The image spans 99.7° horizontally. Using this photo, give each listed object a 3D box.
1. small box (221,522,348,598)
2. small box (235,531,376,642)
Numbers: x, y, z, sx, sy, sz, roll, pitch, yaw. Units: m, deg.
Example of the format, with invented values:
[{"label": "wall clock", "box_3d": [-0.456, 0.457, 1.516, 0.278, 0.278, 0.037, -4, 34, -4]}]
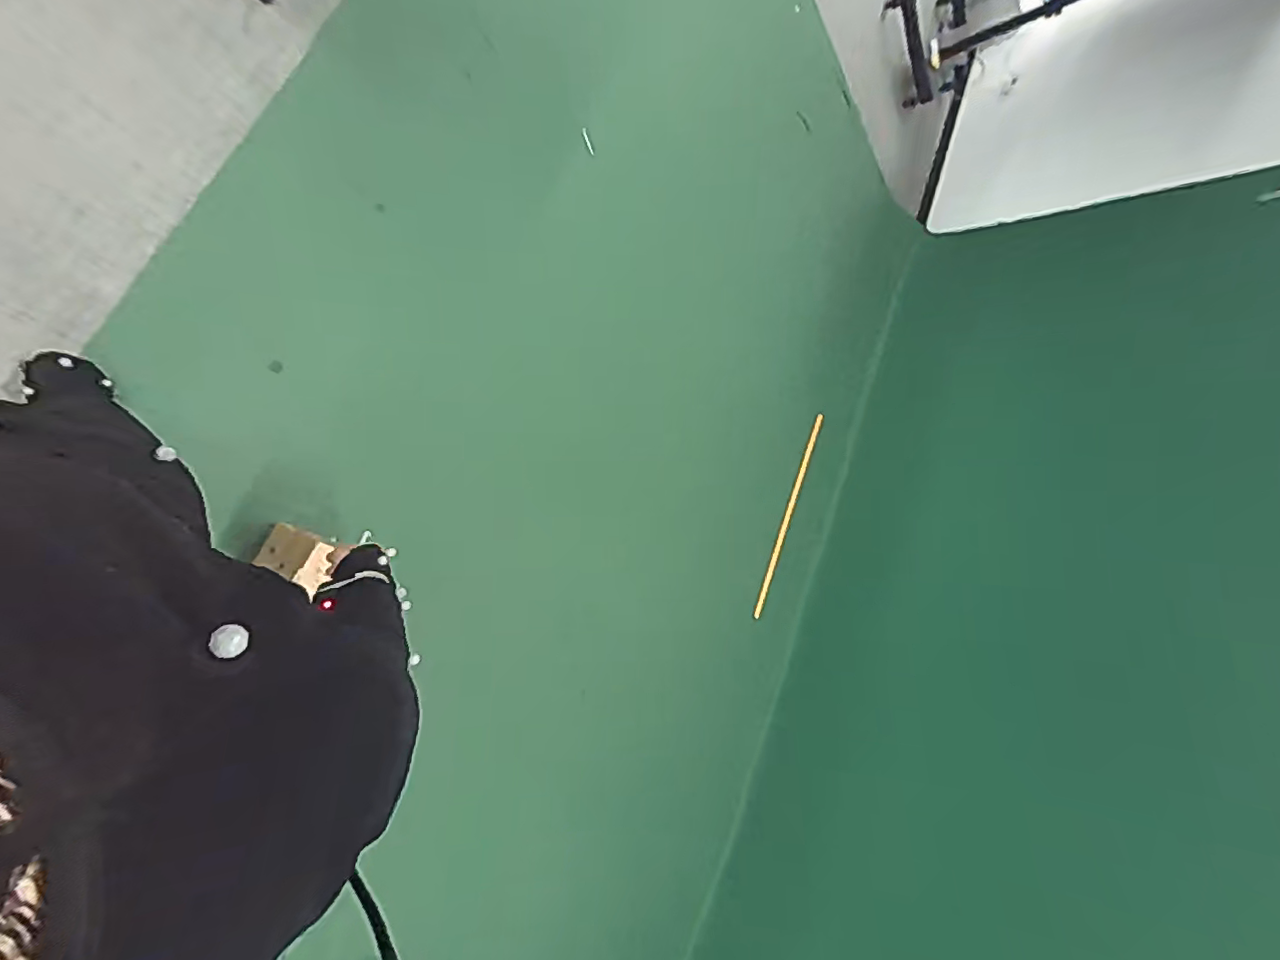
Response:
[{"label": "small box", "box_3d": [-0.838, 0.209, 1.272, 0.179, 0.176, 0.168, 38, 68, -43]}, {"label": "small box", "box_3d": [-0.717, 0.222, 1.160, 0.179, 0.176, 0.168, 41, 66, -41]}]
